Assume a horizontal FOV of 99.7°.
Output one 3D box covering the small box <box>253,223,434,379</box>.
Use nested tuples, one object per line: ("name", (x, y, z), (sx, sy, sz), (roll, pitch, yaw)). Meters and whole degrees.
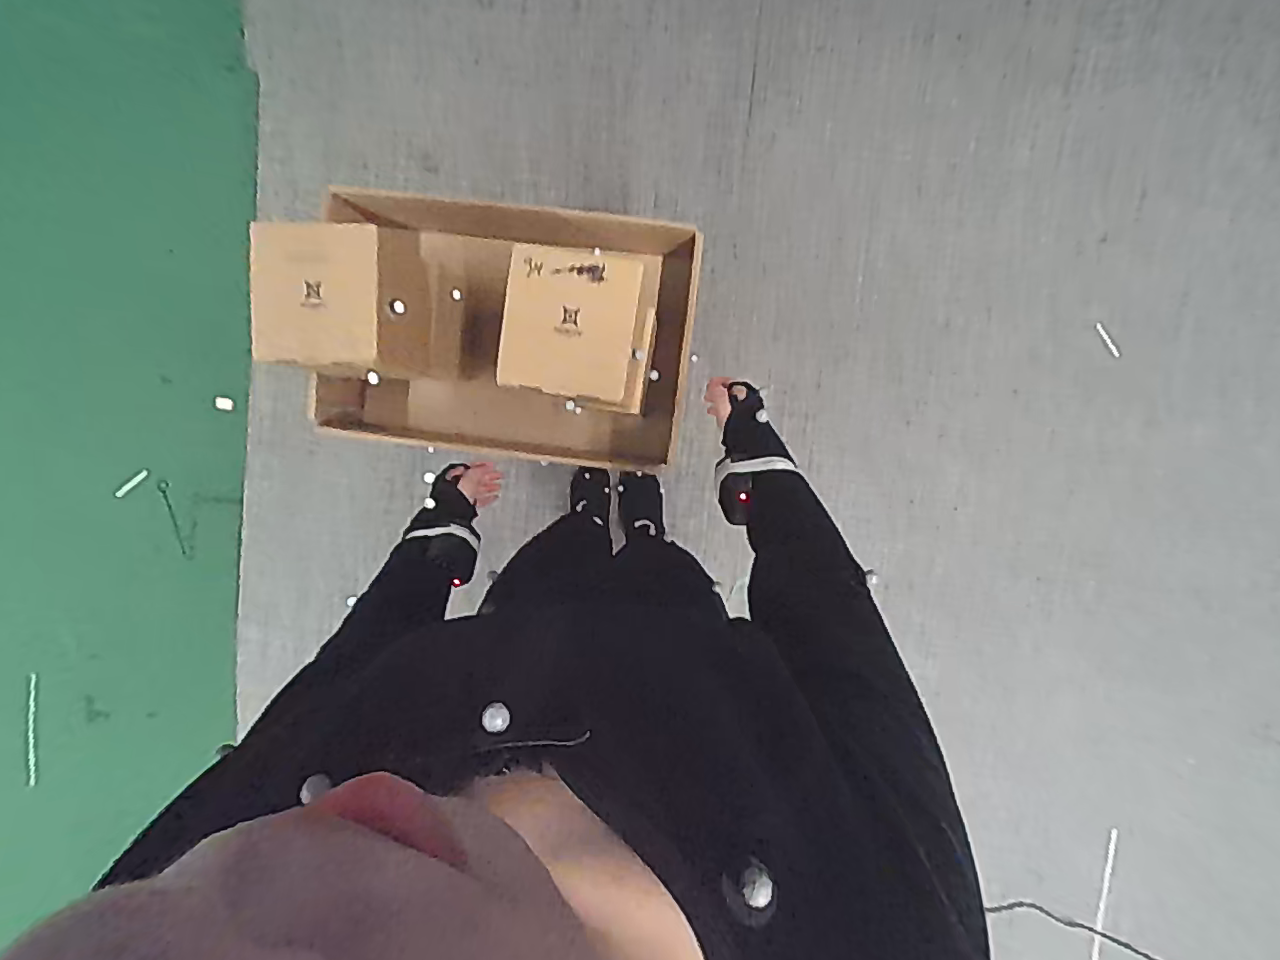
("small box", (-0.405, -0.239, 0.763), (0.168, 0.176, 0.179), (3, 94, 3))

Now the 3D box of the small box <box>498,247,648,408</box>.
("small box", (-0.082, -0.197, 0.746), (0.168, 0.176, 0.179), (9, 96, 2))
